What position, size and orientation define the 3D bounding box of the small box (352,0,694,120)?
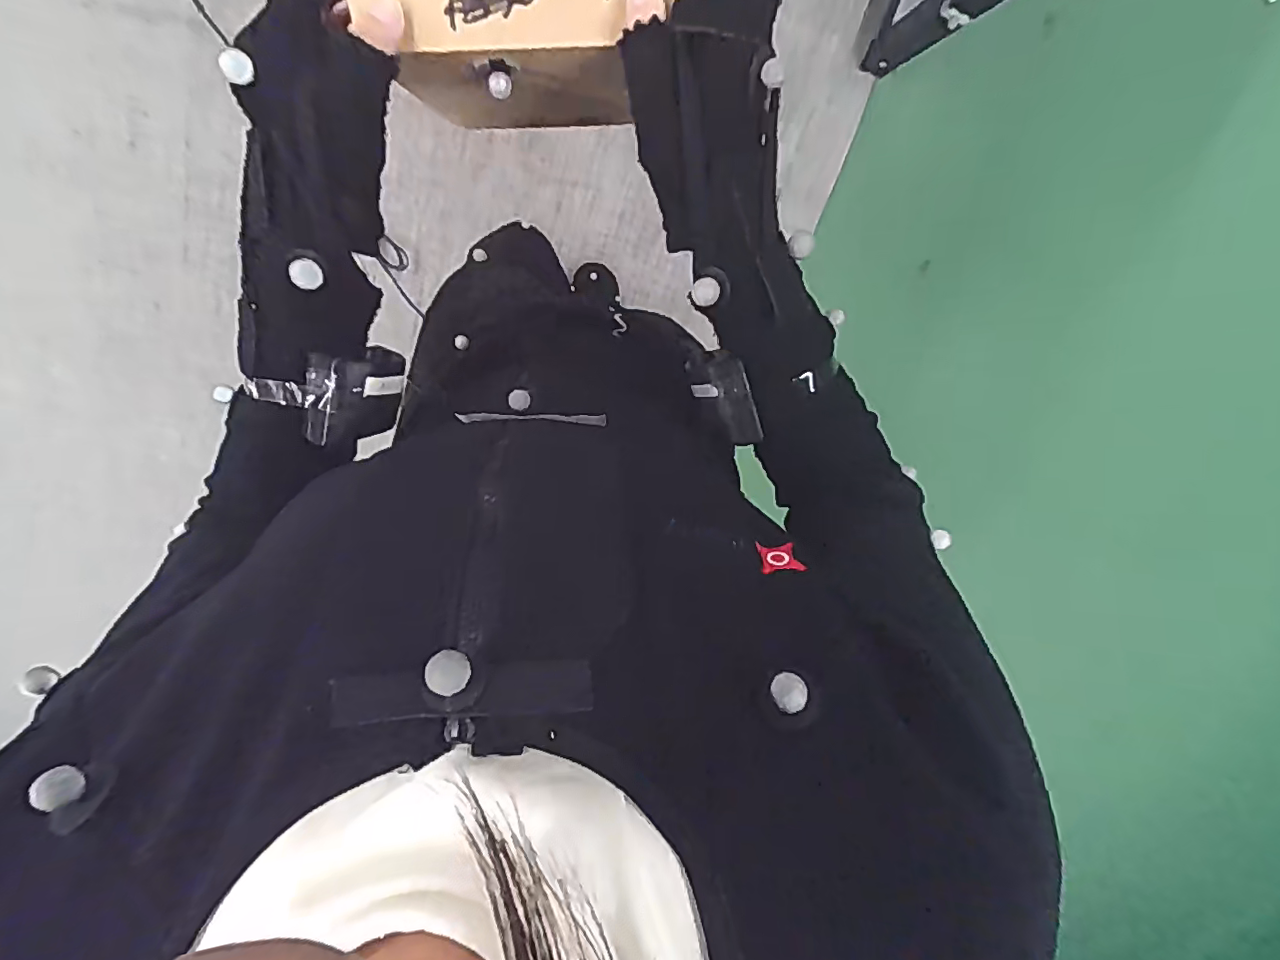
[{"bbox_3d":[-0.059,-0.326,0.306,0.168,0.176,0.179,-2,113,0],"label":"small box"}]
